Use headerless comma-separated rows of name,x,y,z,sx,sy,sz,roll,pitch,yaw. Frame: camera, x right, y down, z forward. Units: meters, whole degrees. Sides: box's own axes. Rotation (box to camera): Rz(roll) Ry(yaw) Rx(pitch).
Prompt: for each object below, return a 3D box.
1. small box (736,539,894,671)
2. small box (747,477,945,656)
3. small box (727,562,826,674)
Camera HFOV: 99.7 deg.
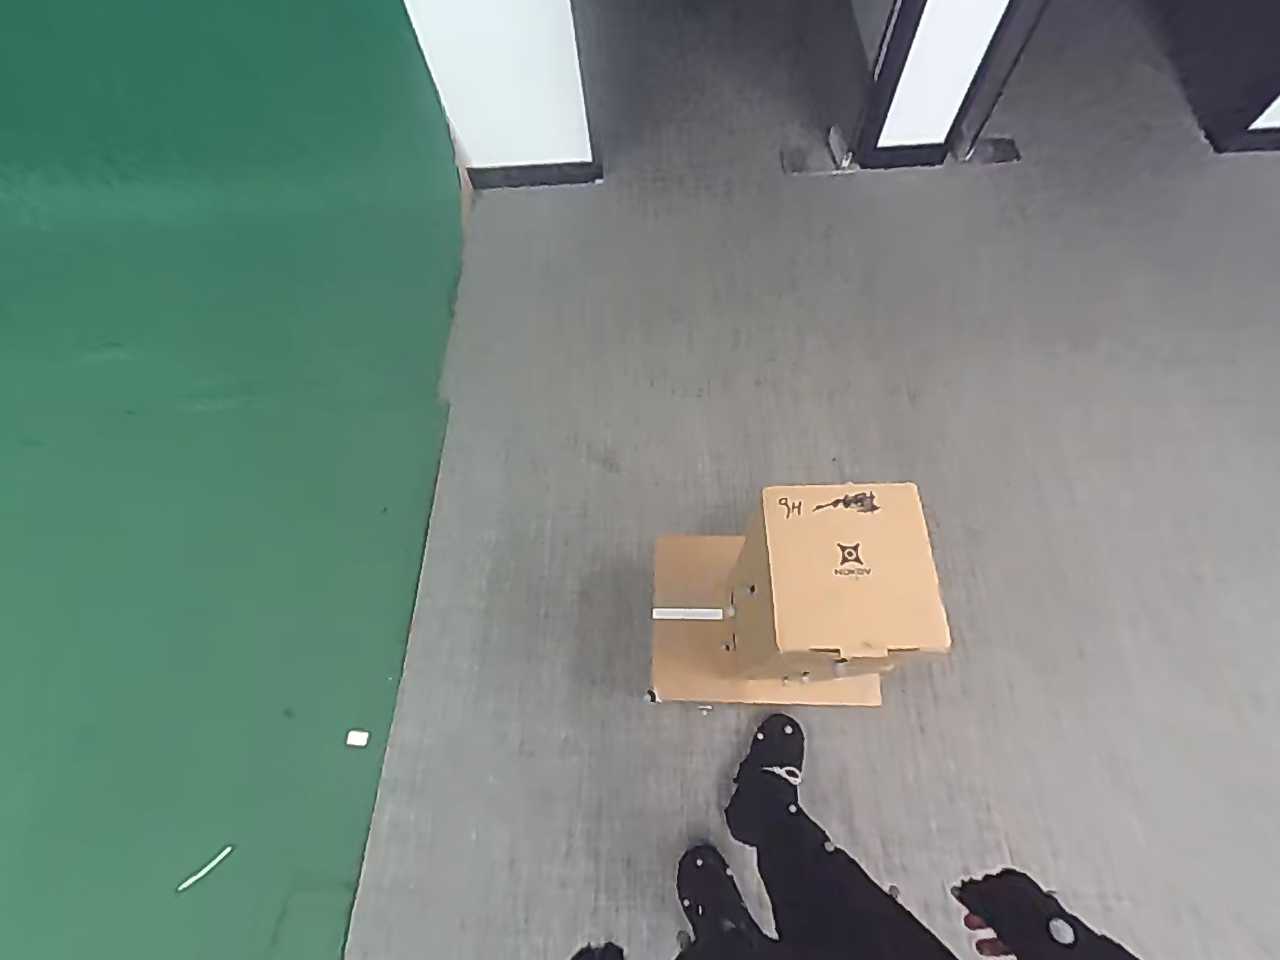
small box,0.235,0.180,0.774,0.179,0.176,0.168,-2,67,5
small box,0.219,0.110,0.627,0.168,0.176,0.179,-3,68,4
small box,0.243,0.240,0.926,0.179,0.176,0.168,-2,67,3
